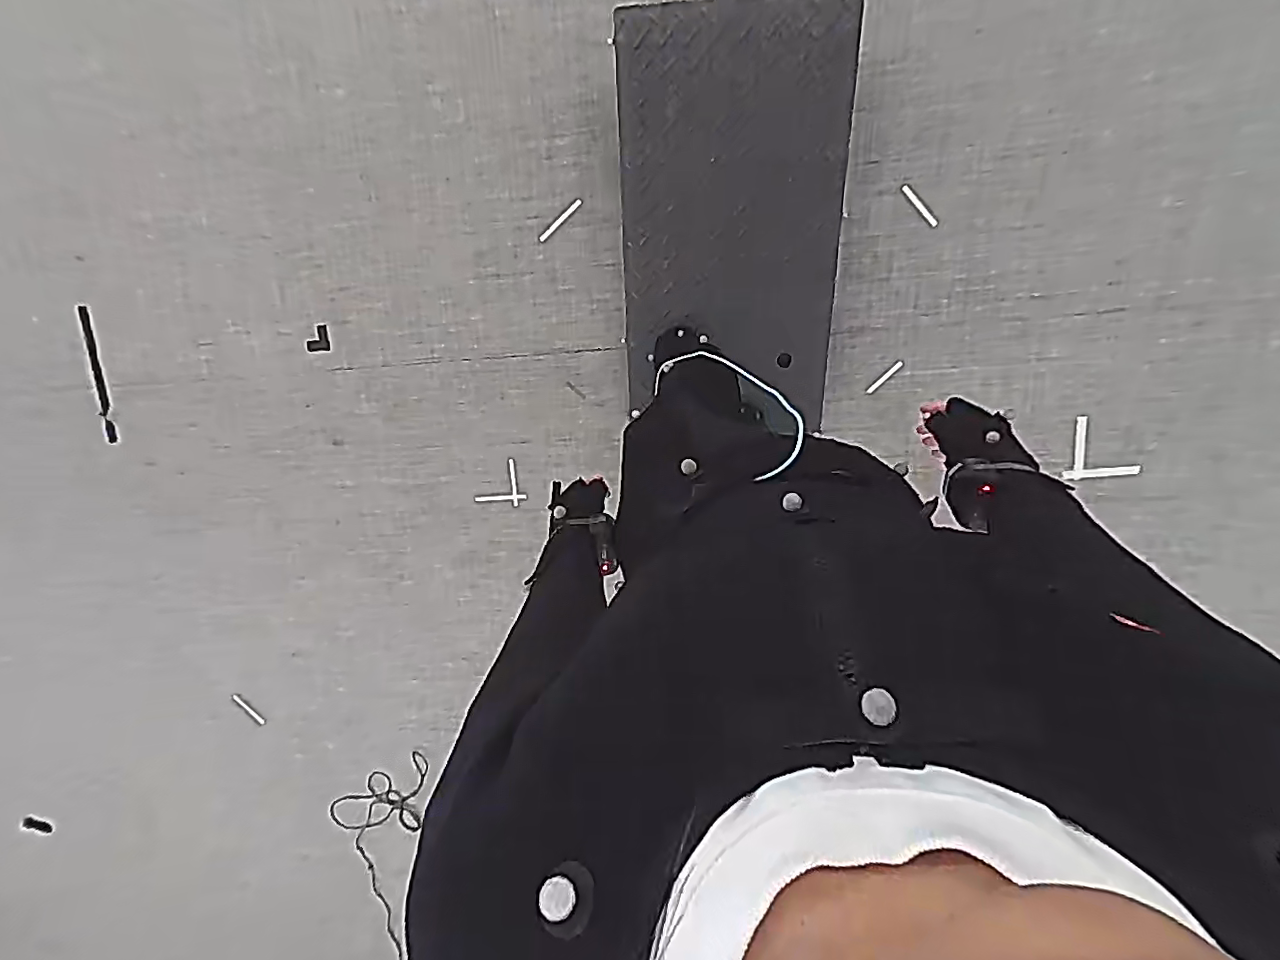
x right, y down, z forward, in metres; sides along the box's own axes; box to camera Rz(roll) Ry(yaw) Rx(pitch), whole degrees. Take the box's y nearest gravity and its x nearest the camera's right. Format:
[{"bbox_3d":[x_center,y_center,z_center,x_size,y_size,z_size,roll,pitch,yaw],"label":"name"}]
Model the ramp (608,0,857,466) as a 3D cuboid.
[{"bbox_3d":[0.199,-0.495,1.256,0.509,0.206,0.991,-1,103,6],"label":"ramp"}]
